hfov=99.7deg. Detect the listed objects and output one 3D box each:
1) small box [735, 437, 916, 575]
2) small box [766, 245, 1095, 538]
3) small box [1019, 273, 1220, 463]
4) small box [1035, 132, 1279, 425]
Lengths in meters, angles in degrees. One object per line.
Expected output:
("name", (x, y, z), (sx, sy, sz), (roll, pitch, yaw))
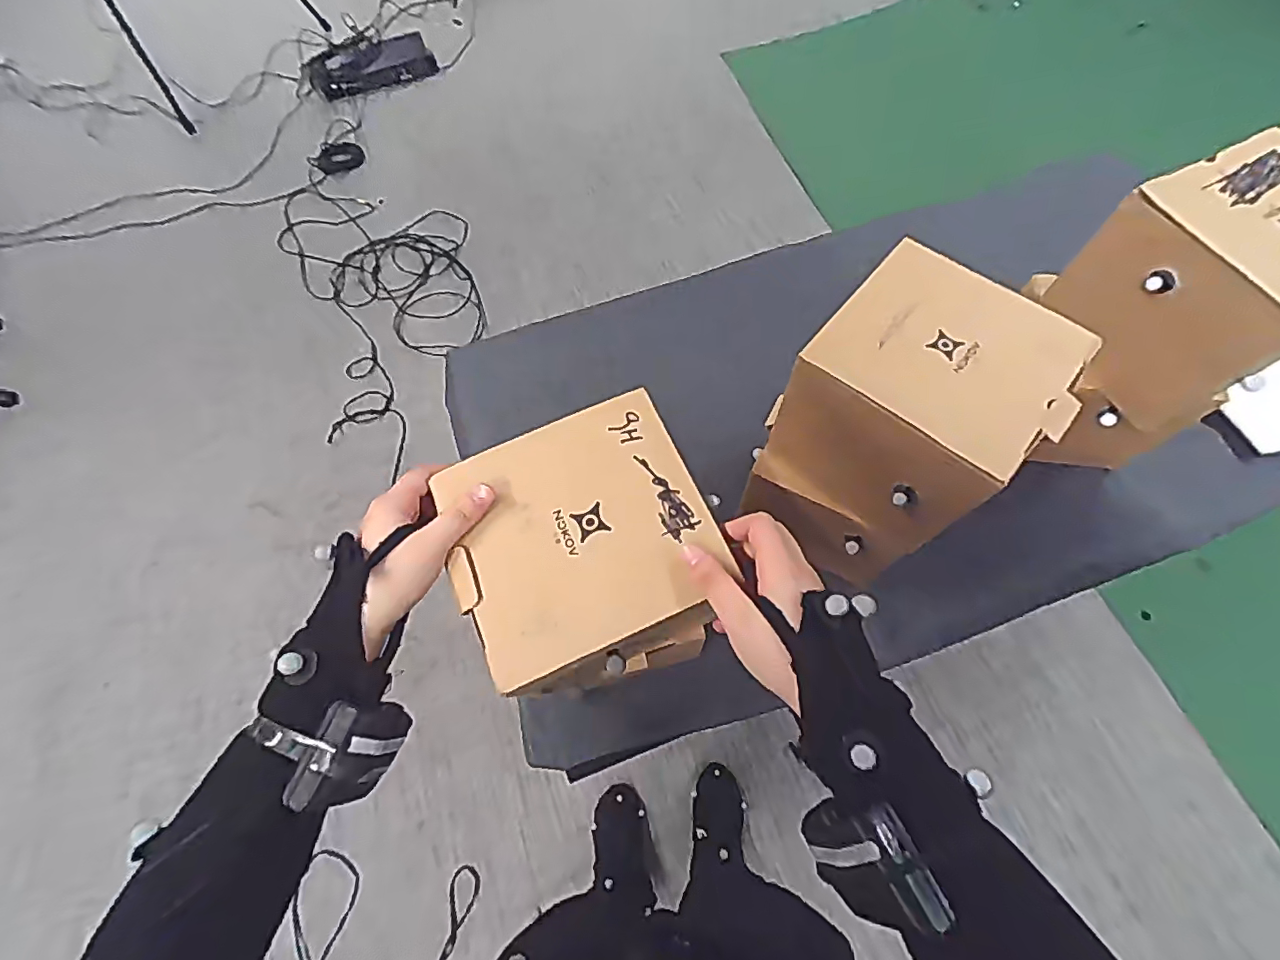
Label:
("small box", (0.231, -0.003, 0.646), (0.179, 0.176, 0.168), (26, 70, 14))
("small box", (0.241, -0.067, 0.496), (0.179, 0.176, 0.168), (38, 72, 18))
("small box", (0.547, -0.133, 0.684), (0.179, 0.176, 0.168), (6, 67, 7))
("small box", (0.545, -0.185, 0.527), (0.168, 0.176, 0.179), (-25, 67, -6))
